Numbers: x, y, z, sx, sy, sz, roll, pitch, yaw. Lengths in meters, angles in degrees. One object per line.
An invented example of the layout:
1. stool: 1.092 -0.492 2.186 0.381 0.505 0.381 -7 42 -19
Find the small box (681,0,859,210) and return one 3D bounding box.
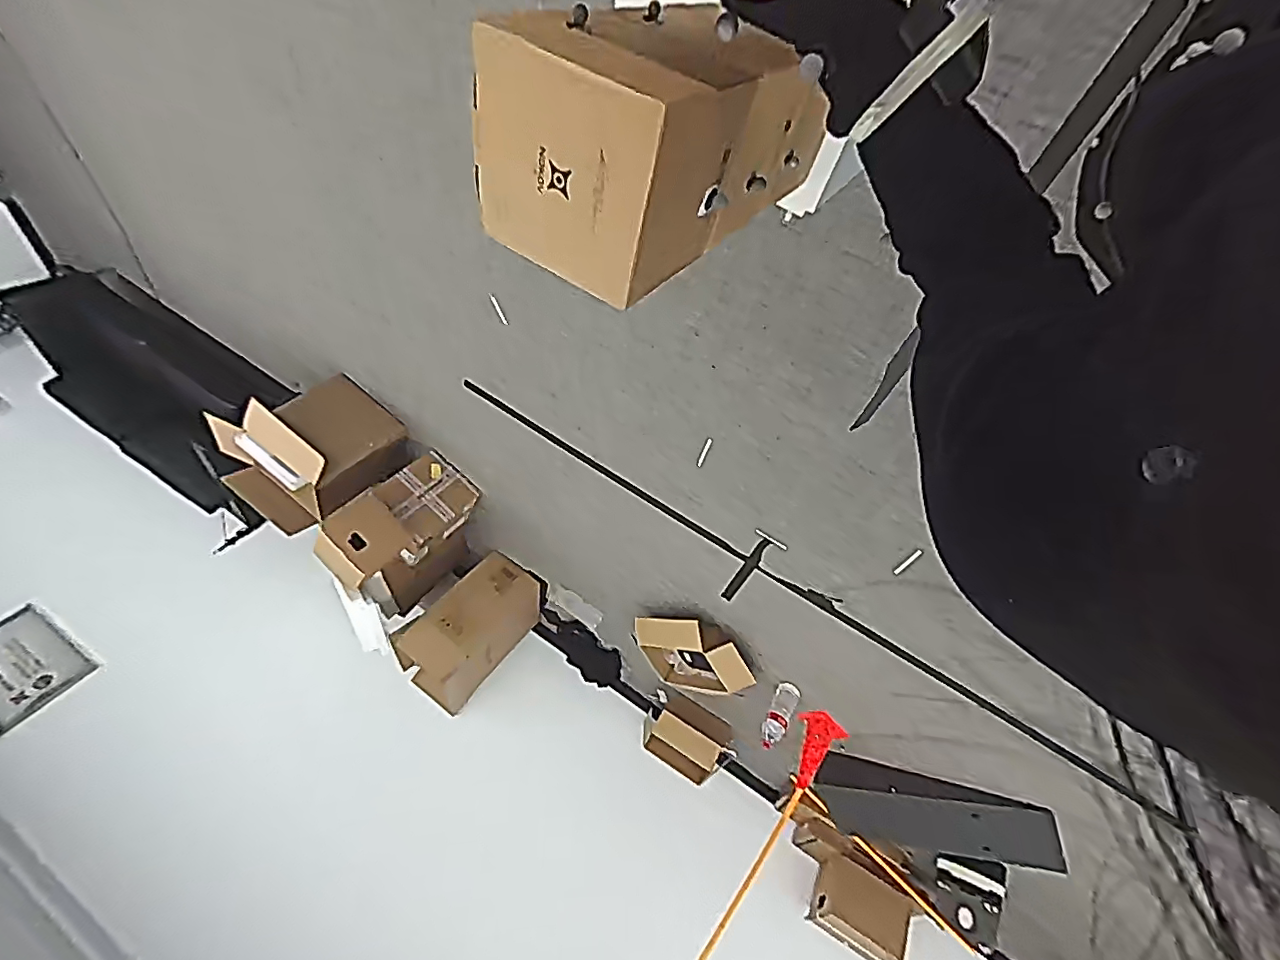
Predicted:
1. small box: 0.143 -0.482 0.691 0.179 0.176 0.168 34 142 12

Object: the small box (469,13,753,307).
1. small box: -0.028 -0.293 0.489 0.179 0.176 0.168 31 142 12

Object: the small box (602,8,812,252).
1. small box: 0.059 -0.387 0.590 0.179 0.176 0.168 32 141 13
